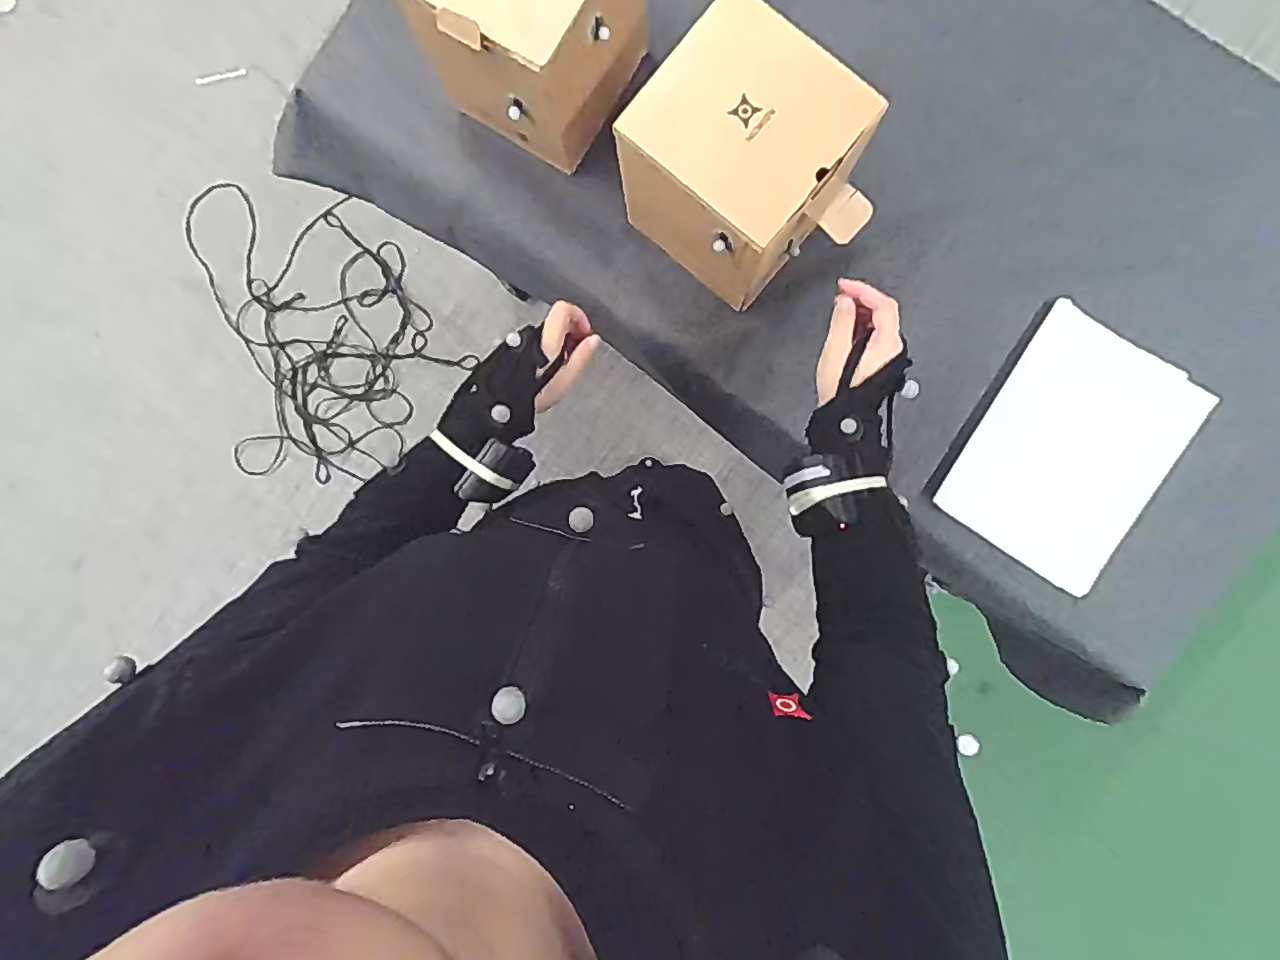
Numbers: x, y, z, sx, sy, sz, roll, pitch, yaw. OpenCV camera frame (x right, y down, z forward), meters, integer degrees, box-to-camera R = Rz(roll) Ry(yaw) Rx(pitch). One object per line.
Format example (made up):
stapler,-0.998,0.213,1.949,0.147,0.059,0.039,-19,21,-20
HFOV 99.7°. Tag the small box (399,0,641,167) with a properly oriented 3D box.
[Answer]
small box,-0.106,-0.471,0.554,0.168,0.176,0.179,31,90,2

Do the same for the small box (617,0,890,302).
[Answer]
small box,0.099,-0.311,0.542,0.179,0.176,0.168,40,91,3
